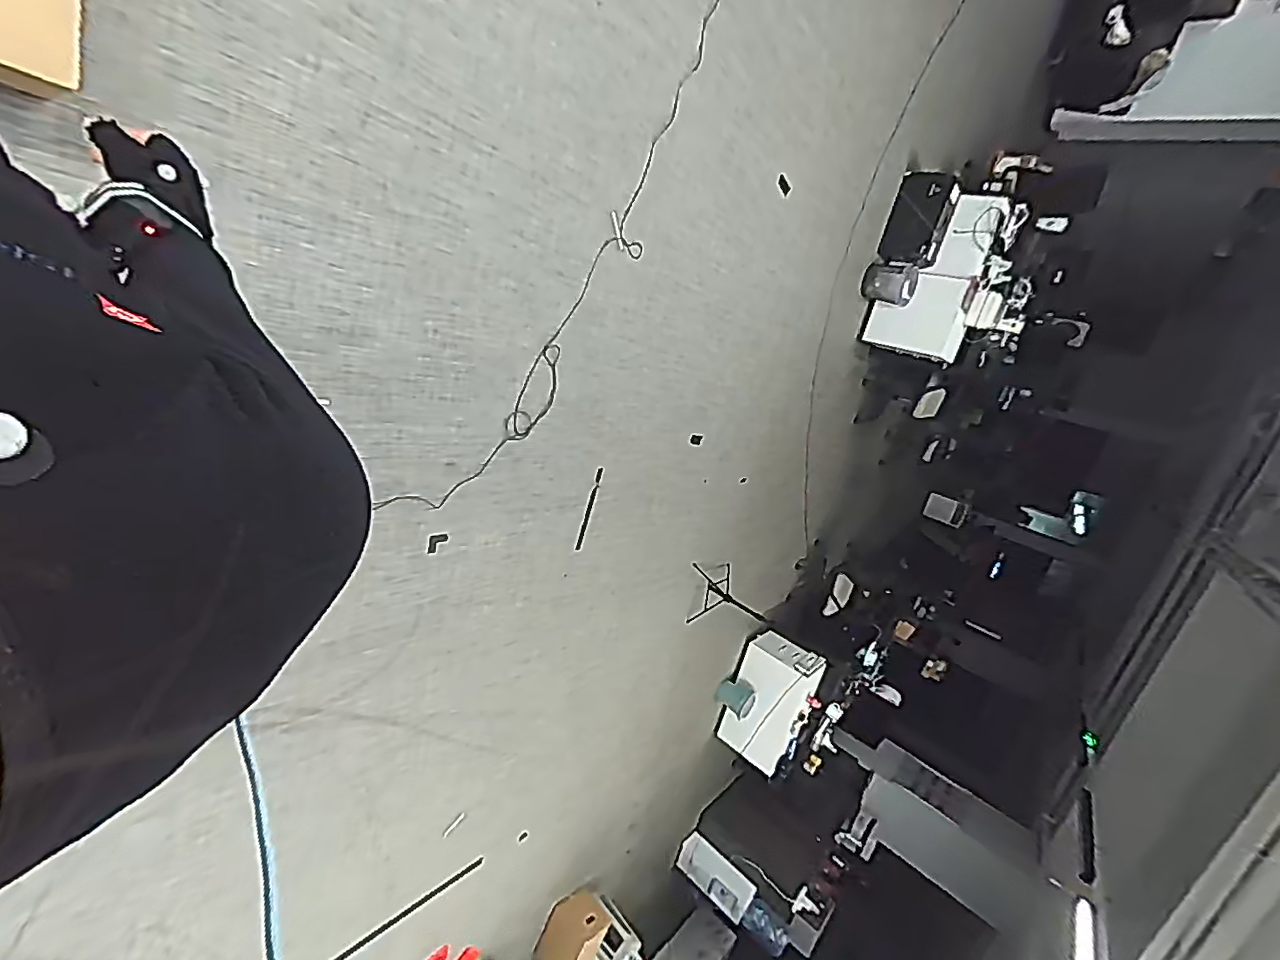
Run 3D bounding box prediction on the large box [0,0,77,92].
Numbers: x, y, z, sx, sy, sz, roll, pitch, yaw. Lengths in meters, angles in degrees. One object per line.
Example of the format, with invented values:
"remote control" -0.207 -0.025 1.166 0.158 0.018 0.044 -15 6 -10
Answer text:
"large box" -0.980 -0.731 0.637 0.408 0.320 0.320 -4 115 -53
